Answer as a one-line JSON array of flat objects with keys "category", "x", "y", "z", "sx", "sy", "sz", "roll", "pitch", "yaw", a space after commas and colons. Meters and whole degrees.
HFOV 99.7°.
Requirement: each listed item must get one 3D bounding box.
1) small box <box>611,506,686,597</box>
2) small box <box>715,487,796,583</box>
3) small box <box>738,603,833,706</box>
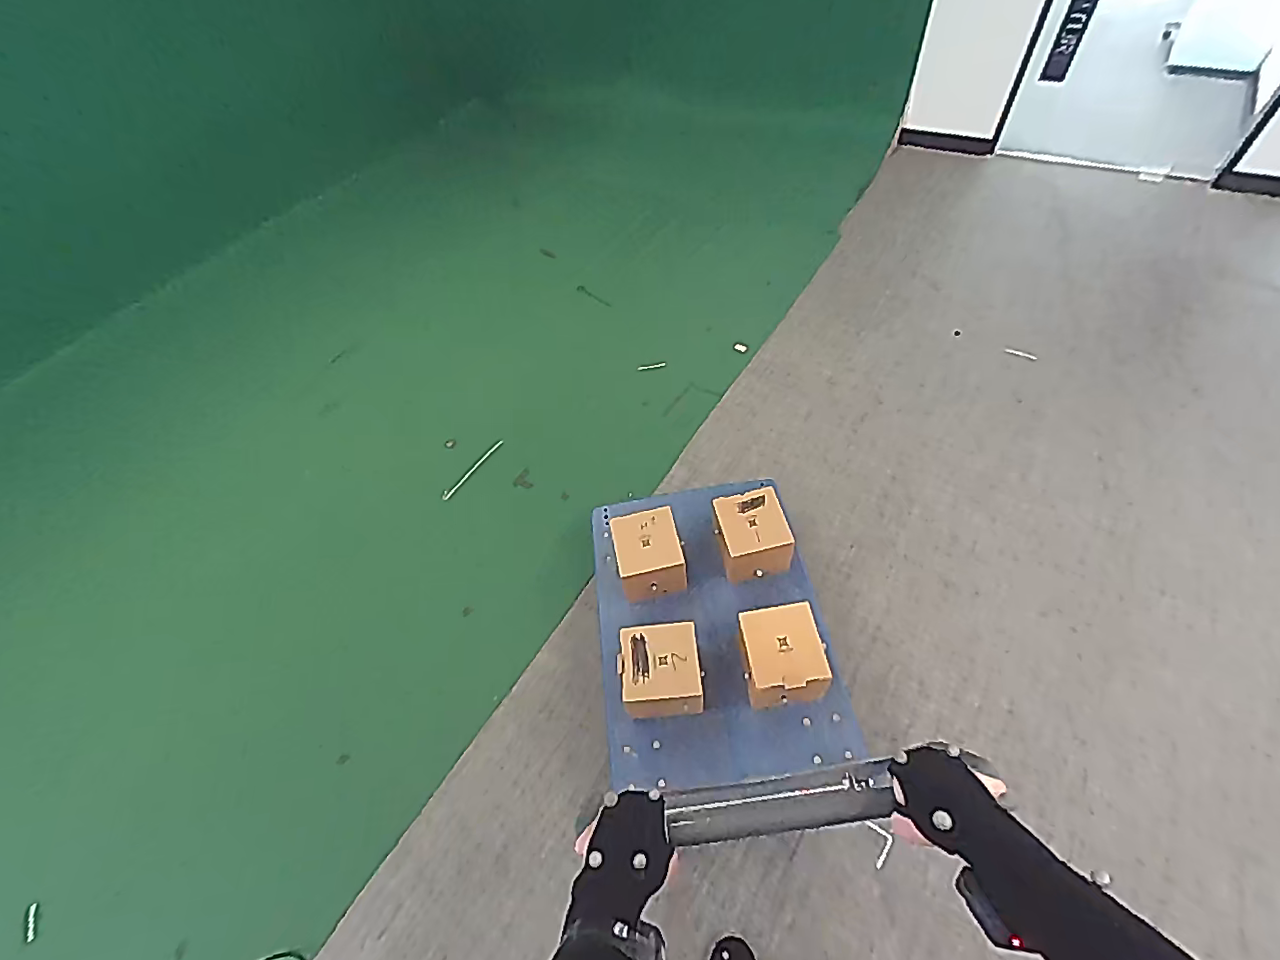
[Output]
[{"category": "small box", "x": 0.026, "y": 0.198, "z": 1.440, "sx": 0.168, "sy": 0.176, "sz": 0.179, "roll": -12, "pitch": 55, "yaw": -2}, {"category": "small box", "x": 0.298, "y": 0.149, "z": 1.439, "sx": 0.168, "sy": 0.176, "sz": 0.179, "roll": -13, "pitch": 56, "yaw": -1}, {"category": "small box", "x": 0.327, "y": 0.408, "z": 1.258, "sx": 0.168, "sy": 0.176, "sz": 0.179, "roll": -9, "pitch": 56, "yaw": 1}]
